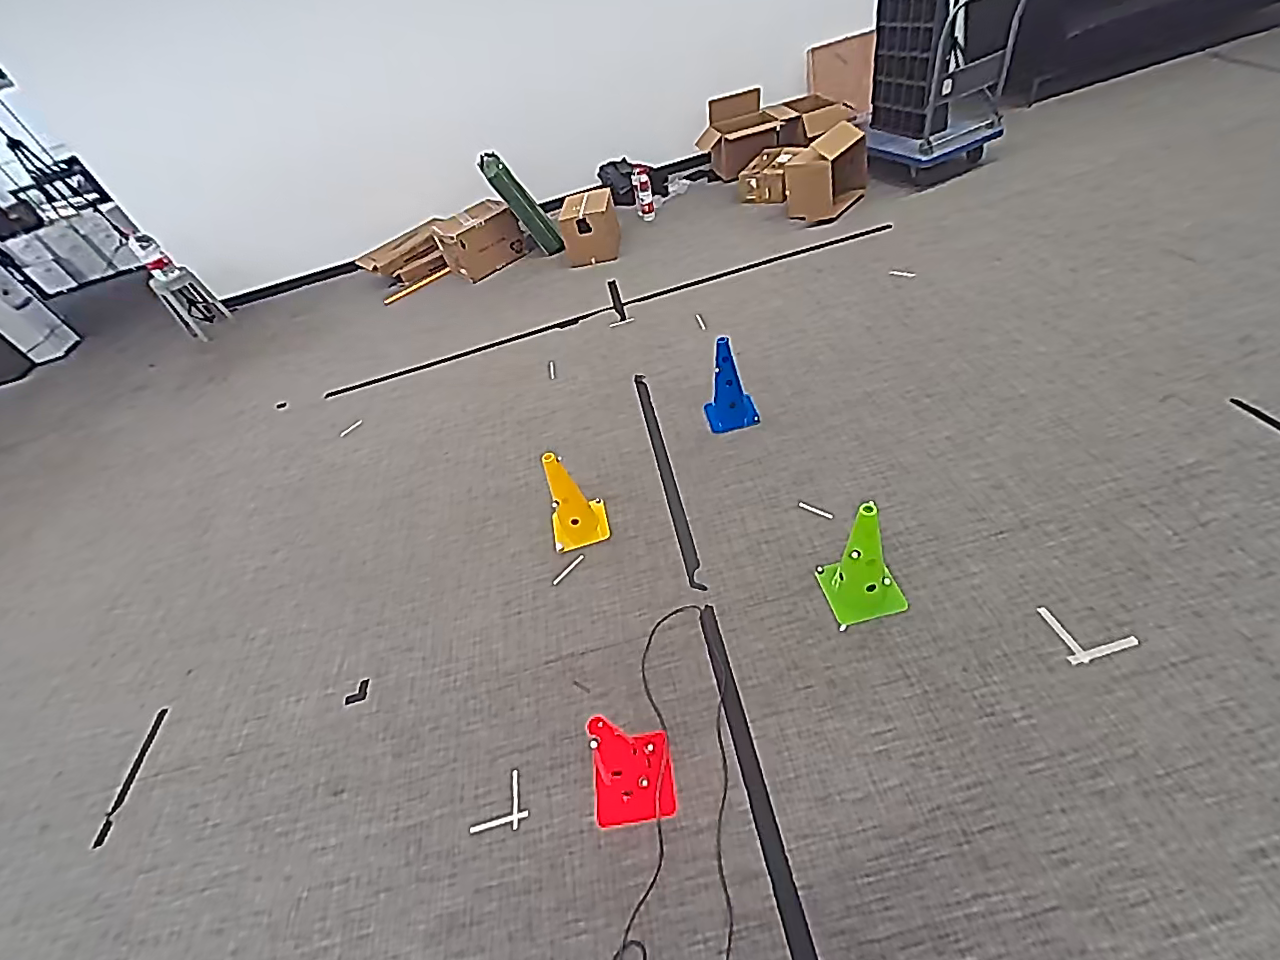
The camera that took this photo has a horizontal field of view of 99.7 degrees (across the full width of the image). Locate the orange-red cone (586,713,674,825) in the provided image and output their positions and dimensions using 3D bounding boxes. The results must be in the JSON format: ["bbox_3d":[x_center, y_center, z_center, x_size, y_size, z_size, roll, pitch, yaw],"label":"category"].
[{"bbox_3d":[-0.057,0.623,1.236,0.199,0.360,0.198,-13,43,6],"label":"orange-red cone"}]

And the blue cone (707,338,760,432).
[{"bbox_3d":[0.348,-0.385,2.118,0.192,0.380,0.193,-12,45,4],"label":"blue cone"}]

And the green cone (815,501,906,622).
[{"bbox_3d":[0.600,0.193,1.448,0.202,0.368,0.200,-15,44,1],"label":"green cone"}]
